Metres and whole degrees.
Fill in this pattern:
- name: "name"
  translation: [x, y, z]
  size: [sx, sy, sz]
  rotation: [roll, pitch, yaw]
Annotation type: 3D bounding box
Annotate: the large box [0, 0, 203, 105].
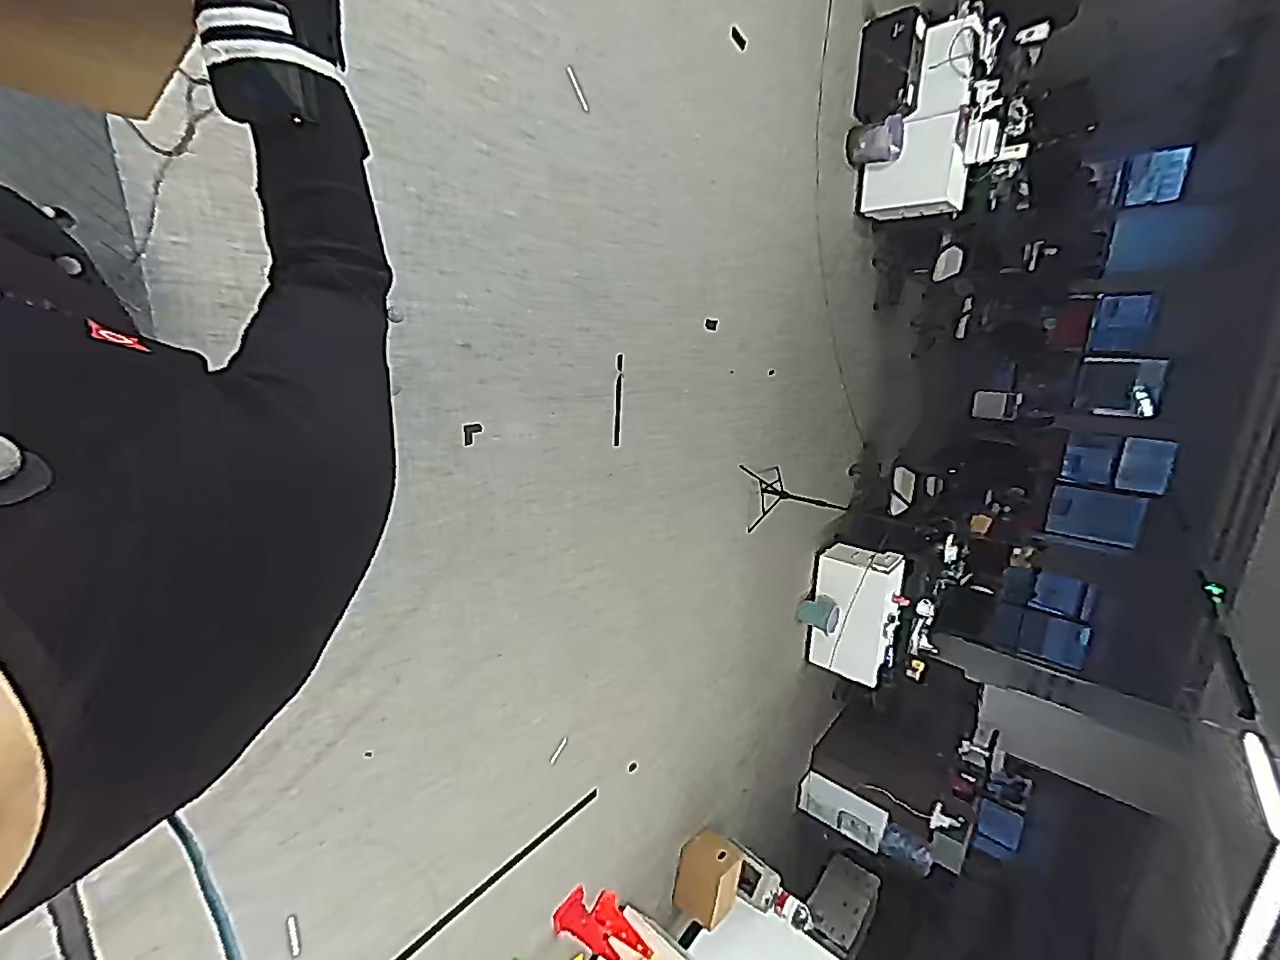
- name: "large box"
  translation: [-0.490, -0.448, 0.243]
  size: [0.408, 0.320, 0.320]
  rotation: [-16, 108, -49]
